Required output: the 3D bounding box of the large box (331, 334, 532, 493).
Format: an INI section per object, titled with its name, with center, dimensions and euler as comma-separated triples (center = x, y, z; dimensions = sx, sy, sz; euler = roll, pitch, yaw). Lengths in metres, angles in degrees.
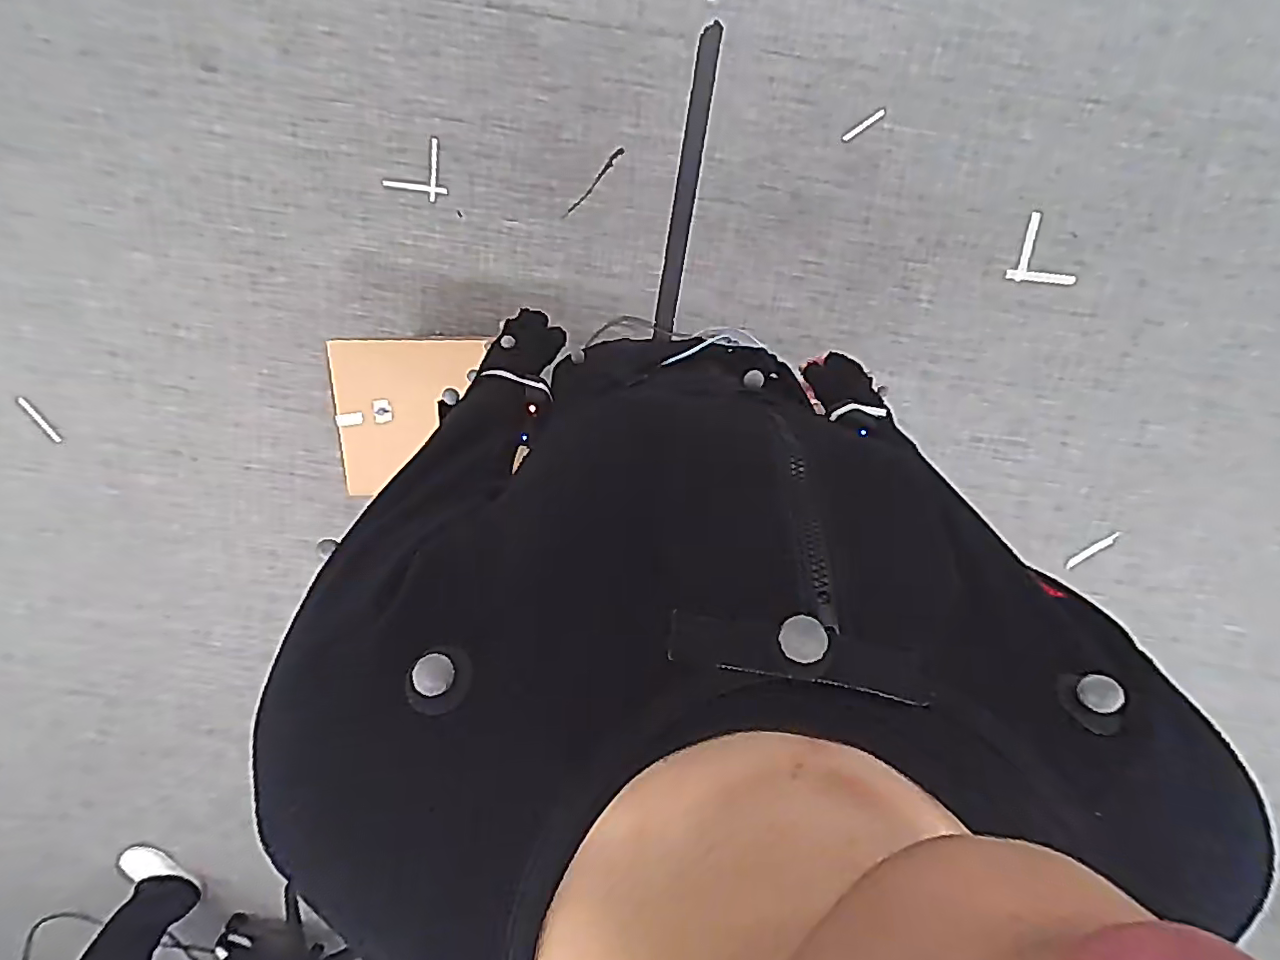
[large box]
center = -0.447, -0.173, 1.259
dimensions = 0.320, 0.408, 0.320
euler = 1, 106, -1
